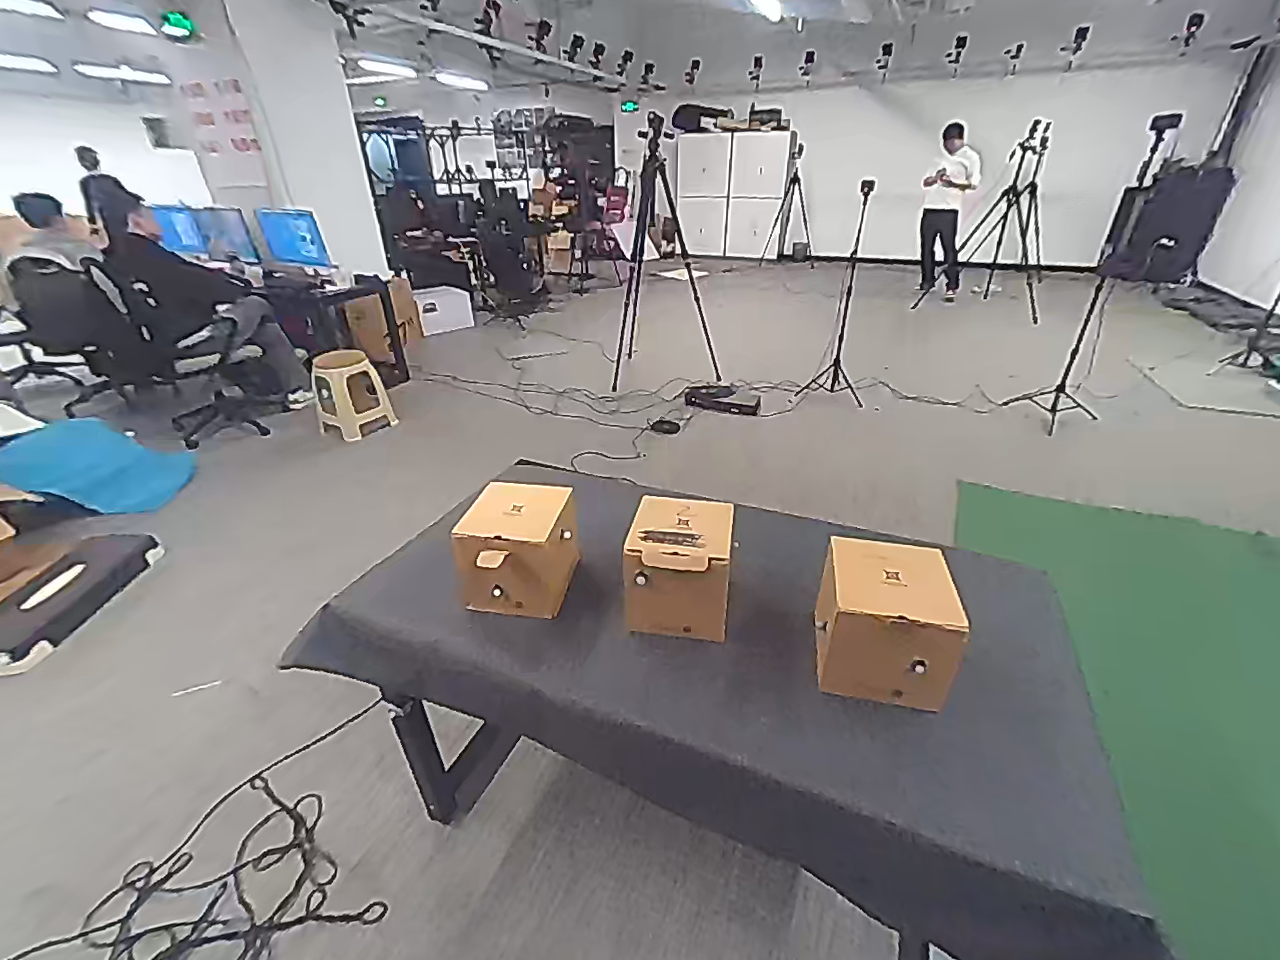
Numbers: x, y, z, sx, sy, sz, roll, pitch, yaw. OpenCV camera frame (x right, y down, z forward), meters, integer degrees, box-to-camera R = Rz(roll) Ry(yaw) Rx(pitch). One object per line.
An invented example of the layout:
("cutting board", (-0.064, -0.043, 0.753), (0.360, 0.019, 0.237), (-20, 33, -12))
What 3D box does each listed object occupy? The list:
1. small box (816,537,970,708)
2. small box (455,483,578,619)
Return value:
("small box", (0.366, 0.212, 0.817), (0.168, 0.176, 0.179), (7, 30, 11))
("small box", (-0.213, 0.124, 0.987), (0.168, 0.176, 0.179), (4, 31, 8))
